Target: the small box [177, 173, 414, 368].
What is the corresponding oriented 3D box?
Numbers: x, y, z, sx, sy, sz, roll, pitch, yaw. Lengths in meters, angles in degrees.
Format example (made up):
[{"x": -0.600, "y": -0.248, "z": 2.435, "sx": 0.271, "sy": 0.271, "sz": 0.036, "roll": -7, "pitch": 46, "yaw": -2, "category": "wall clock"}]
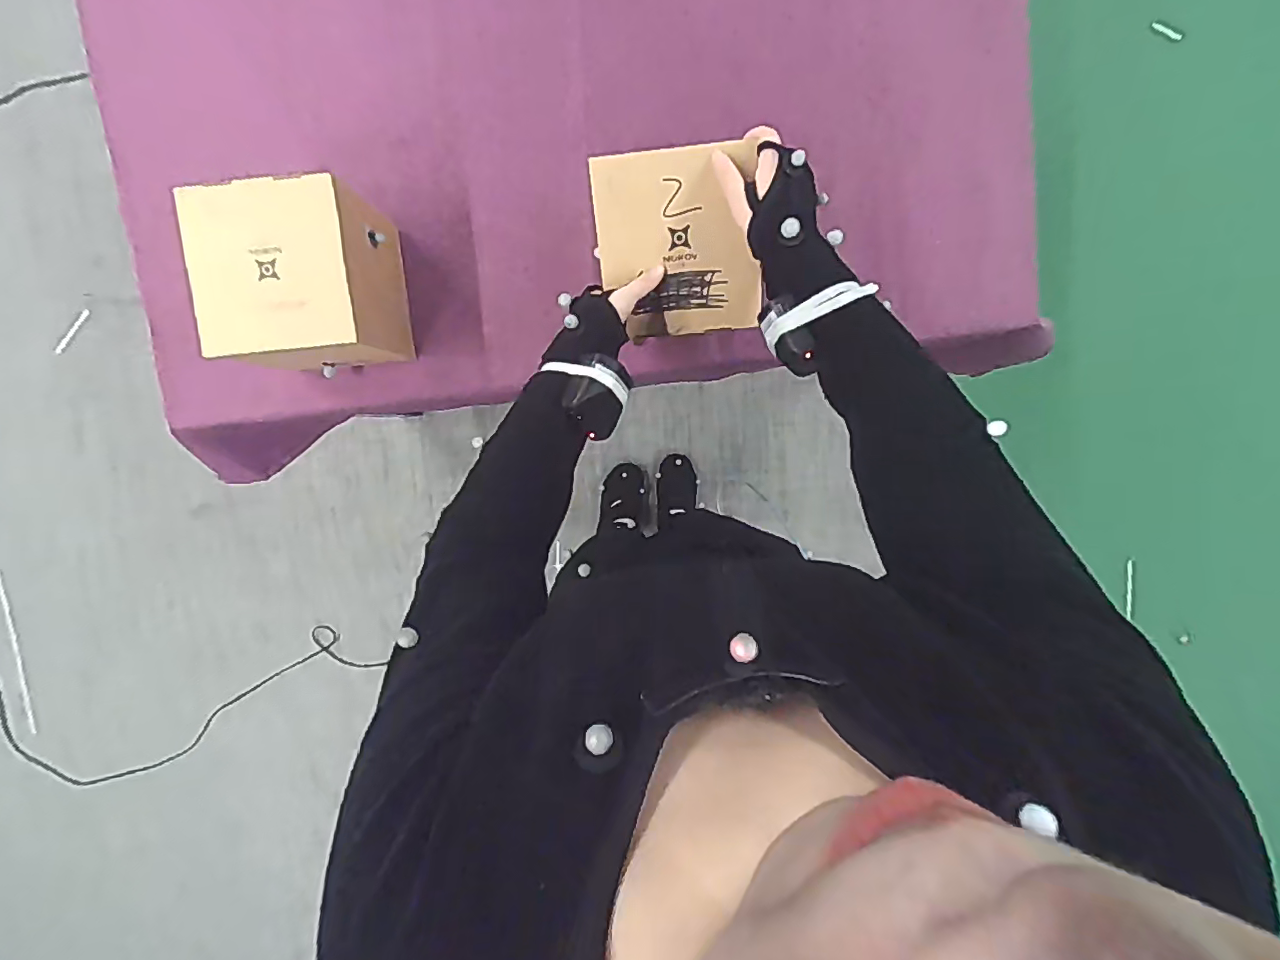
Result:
[{"x": -0.393, "y": -0.236, "z": 0.649, "sx": 0.168, "sy": 0.176, "sz": 0.179, "roll": -5, "pitch": 97, "yaw": 0, "category": "small box"}]
